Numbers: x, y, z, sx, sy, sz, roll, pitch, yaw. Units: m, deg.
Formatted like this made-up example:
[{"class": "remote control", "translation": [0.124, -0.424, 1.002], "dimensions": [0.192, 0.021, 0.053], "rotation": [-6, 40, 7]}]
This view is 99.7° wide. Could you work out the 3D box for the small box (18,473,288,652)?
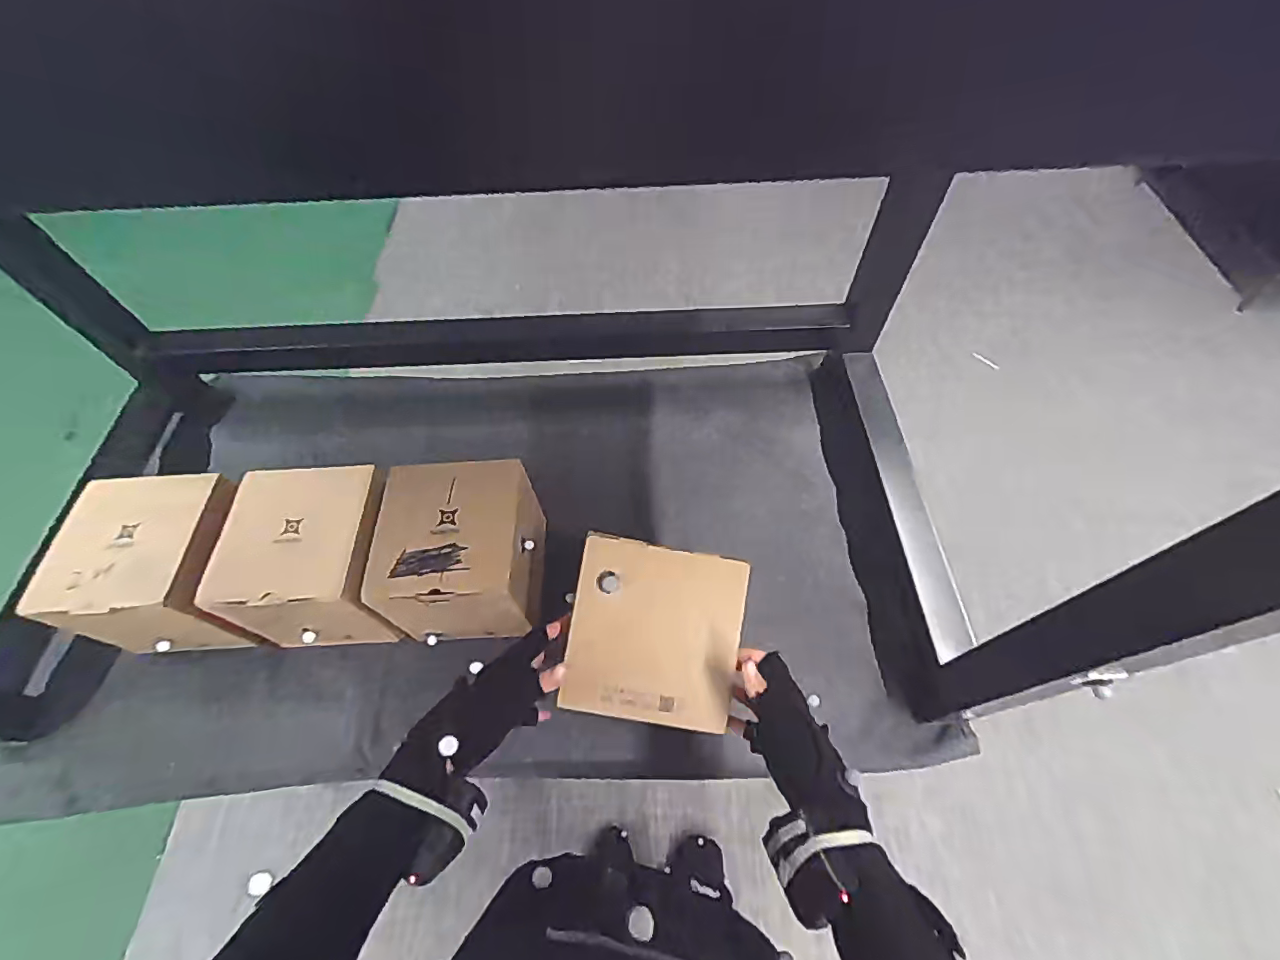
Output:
[{"class": "small box", "translation": [-0.598, 0.110, 0.700], "dimensions": [0.168, 0.176, 0.179], "rotation": [-3, 58, 1]}]
